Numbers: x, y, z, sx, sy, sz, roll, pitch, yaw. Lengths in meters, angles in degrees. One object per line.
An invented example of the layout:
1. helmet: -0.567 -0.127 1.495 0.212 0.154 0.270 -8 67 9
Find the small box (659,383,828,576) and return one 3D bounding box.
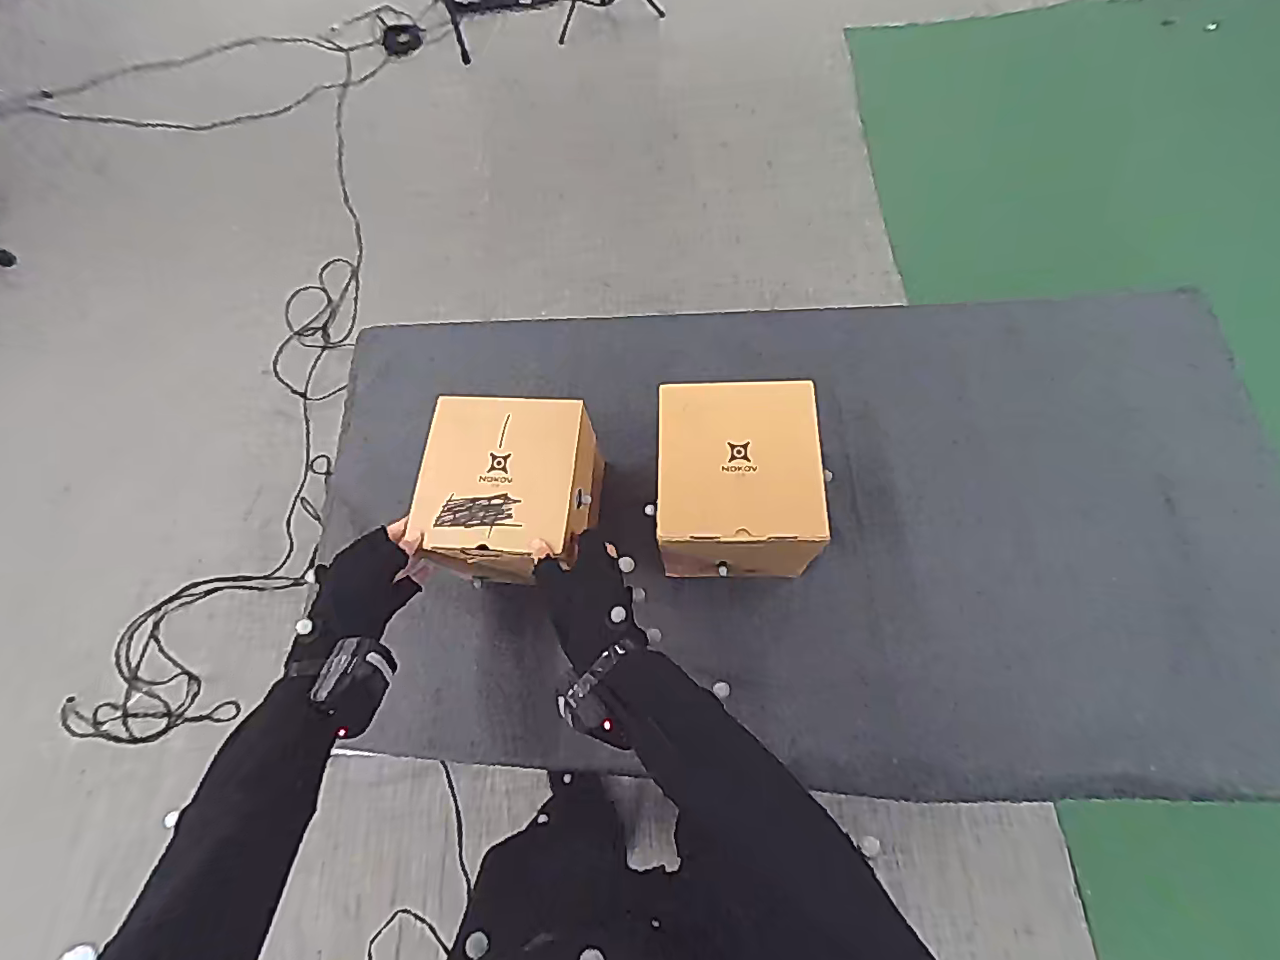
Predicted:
1. small box: 0.107 0.006 0.626 0.168 0.176 0.179 -1 69 5

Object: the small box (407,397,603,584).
1. small box: -0.142 0.020 0.641 0.168 0.176 0.179 3 67 6
